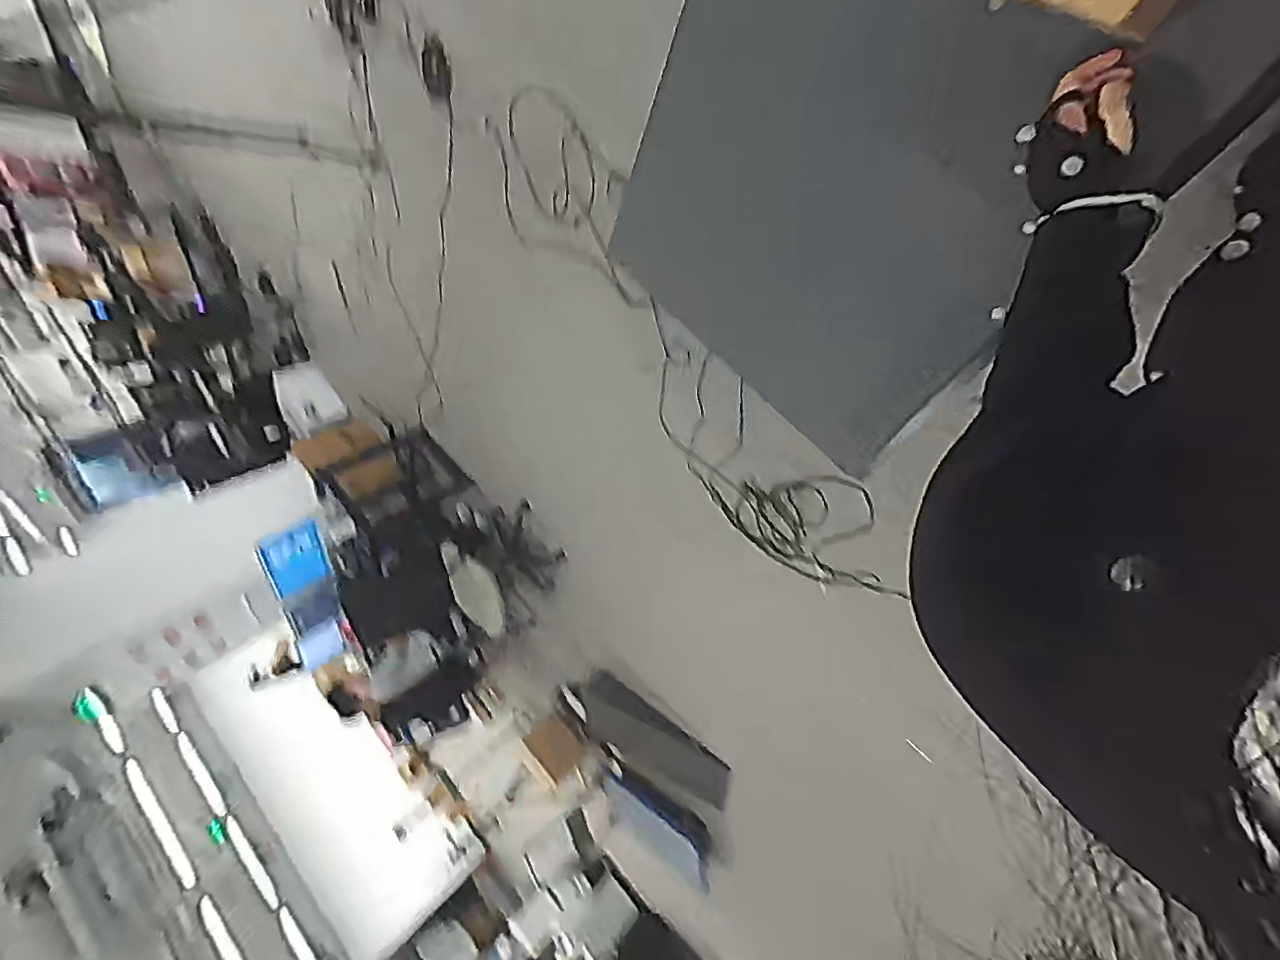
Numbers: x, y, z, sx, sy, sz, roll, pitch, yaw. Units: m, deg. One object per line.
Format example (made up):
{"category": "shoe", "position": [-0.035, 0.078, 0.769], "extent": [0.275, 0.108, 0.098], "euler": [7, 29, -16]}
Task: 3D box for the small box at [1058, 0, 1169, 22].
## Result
{"category": "small box", "position": [0.343, -0.462, 0.387], "extent": [0.179, 0.176, 0.168], "euler": [43, 140, 19]}
